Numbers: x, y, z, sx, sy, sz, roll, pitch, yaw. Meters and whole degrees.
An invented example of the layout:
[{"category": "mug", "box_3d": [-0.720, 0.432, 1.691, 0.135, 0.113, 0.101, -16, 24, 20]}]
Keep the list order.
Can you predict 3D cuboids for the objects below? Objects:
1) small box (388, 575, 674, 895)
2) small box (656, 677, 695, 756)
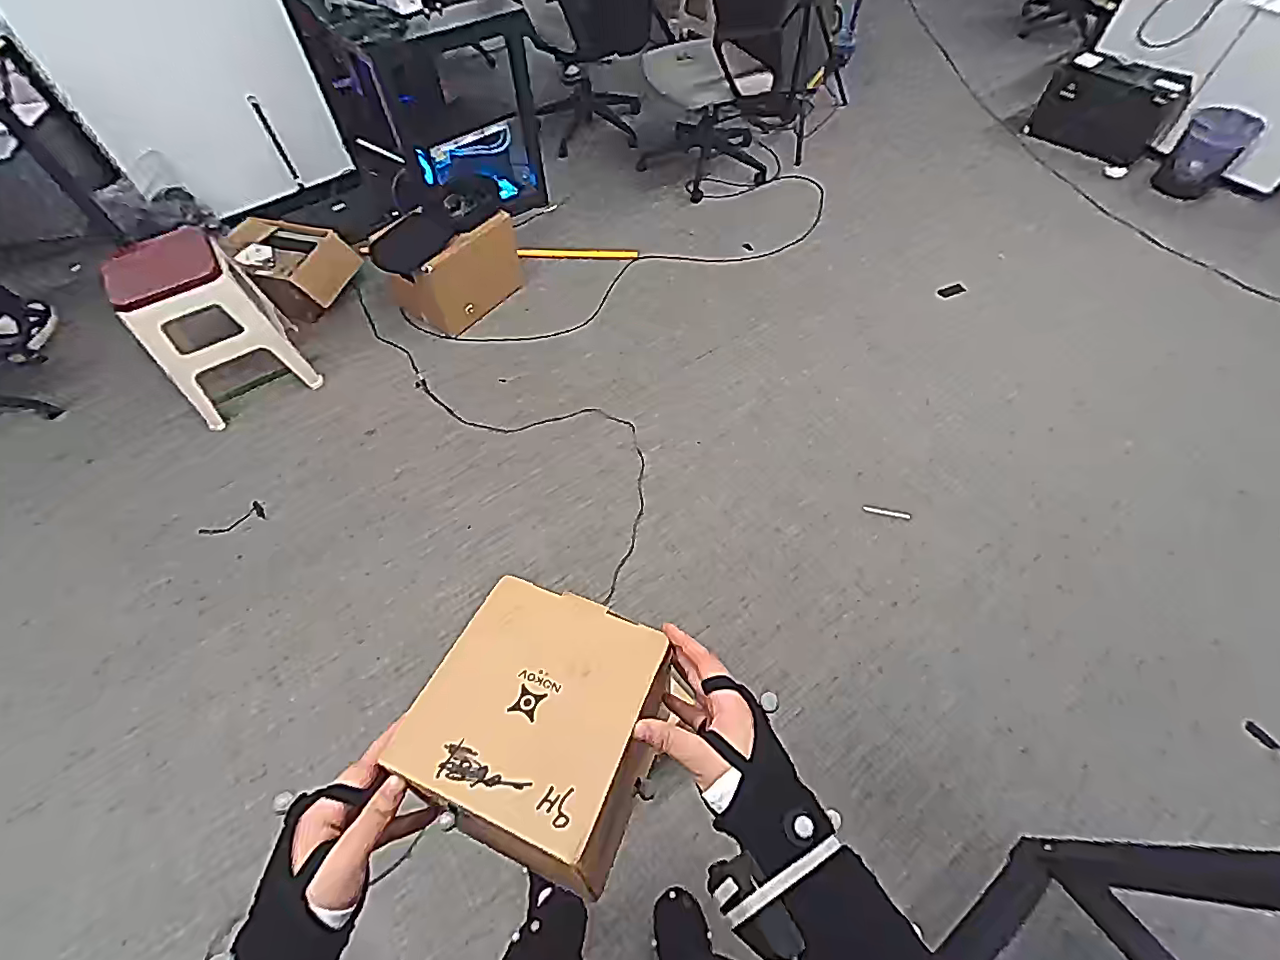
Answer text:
[{"category": "small box", "box_3d": [-0.077, 0.221, 0.480, 0.168, 0.176, 0.179, 15, 47, 18]}, {"category": "small box", "box_3d": [-0.006, 0.487, 1.131, 0.179, 0.176, 0.168, -38, 65, -22]}]
